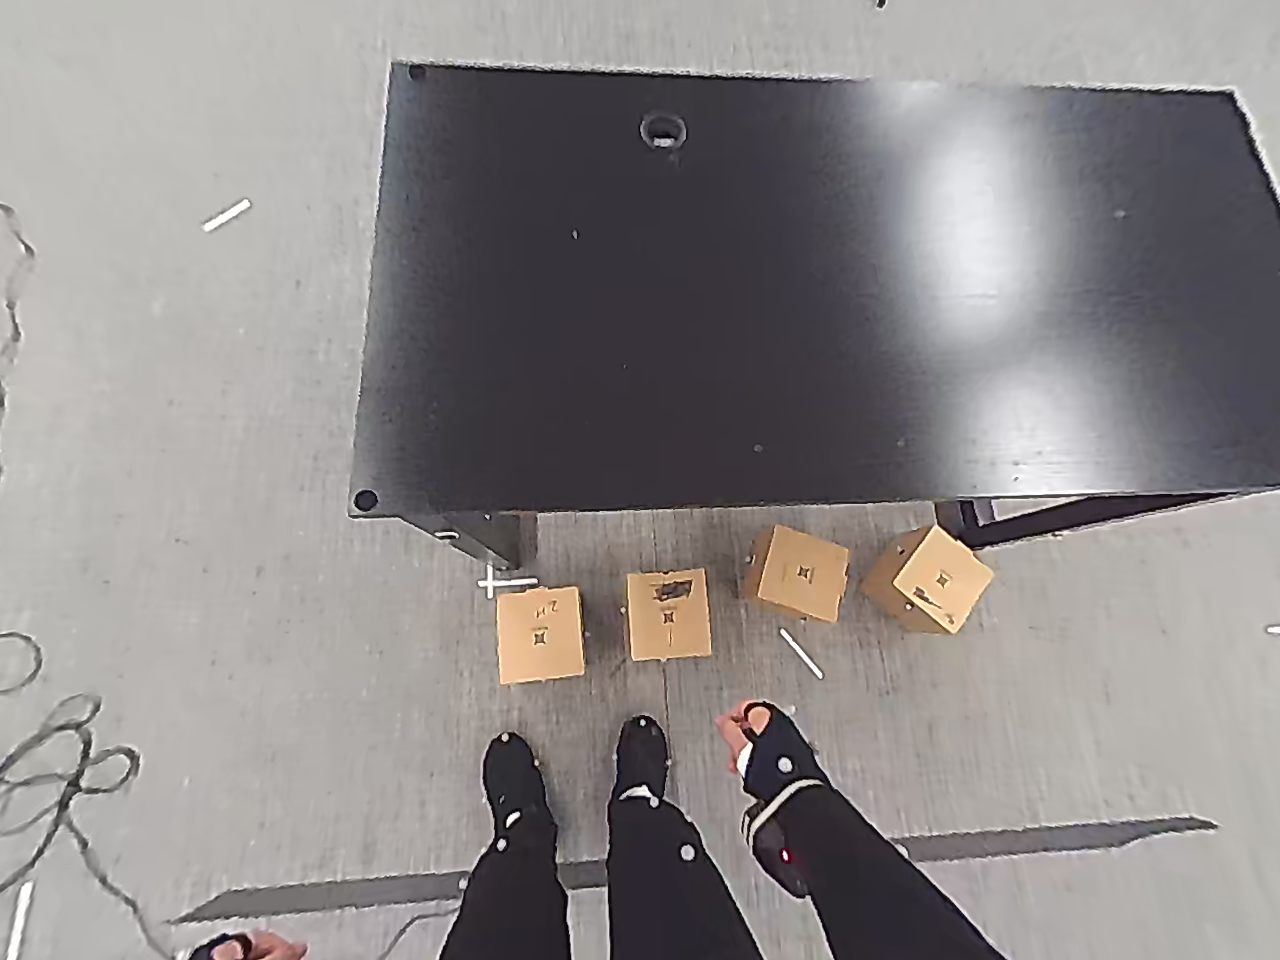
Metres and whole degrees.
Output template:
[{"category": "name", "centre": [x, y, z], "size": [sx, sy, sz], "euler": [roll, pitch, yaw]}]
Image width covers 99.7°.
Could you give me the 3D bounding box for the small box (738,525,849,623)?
[{"category": "small box", "centre": [0.342, 0.217, 1.226], "size": [0.179, 0.176, 0.168], "euler": [18, 74, 2]}]

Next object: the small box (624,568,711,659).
[{"category": "small box", "centre": [0.052, 0.291, 1.184], "size": [0.168, 0.176, 0.179], "euler": [-3, 77, -5]}]

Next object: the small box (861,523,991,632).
[{"category": "small box", "centre": [0.644, 0.227, 1.241], "size": [0.168, 0.176, 0.179], "euler": [40, 76, 7]}]
